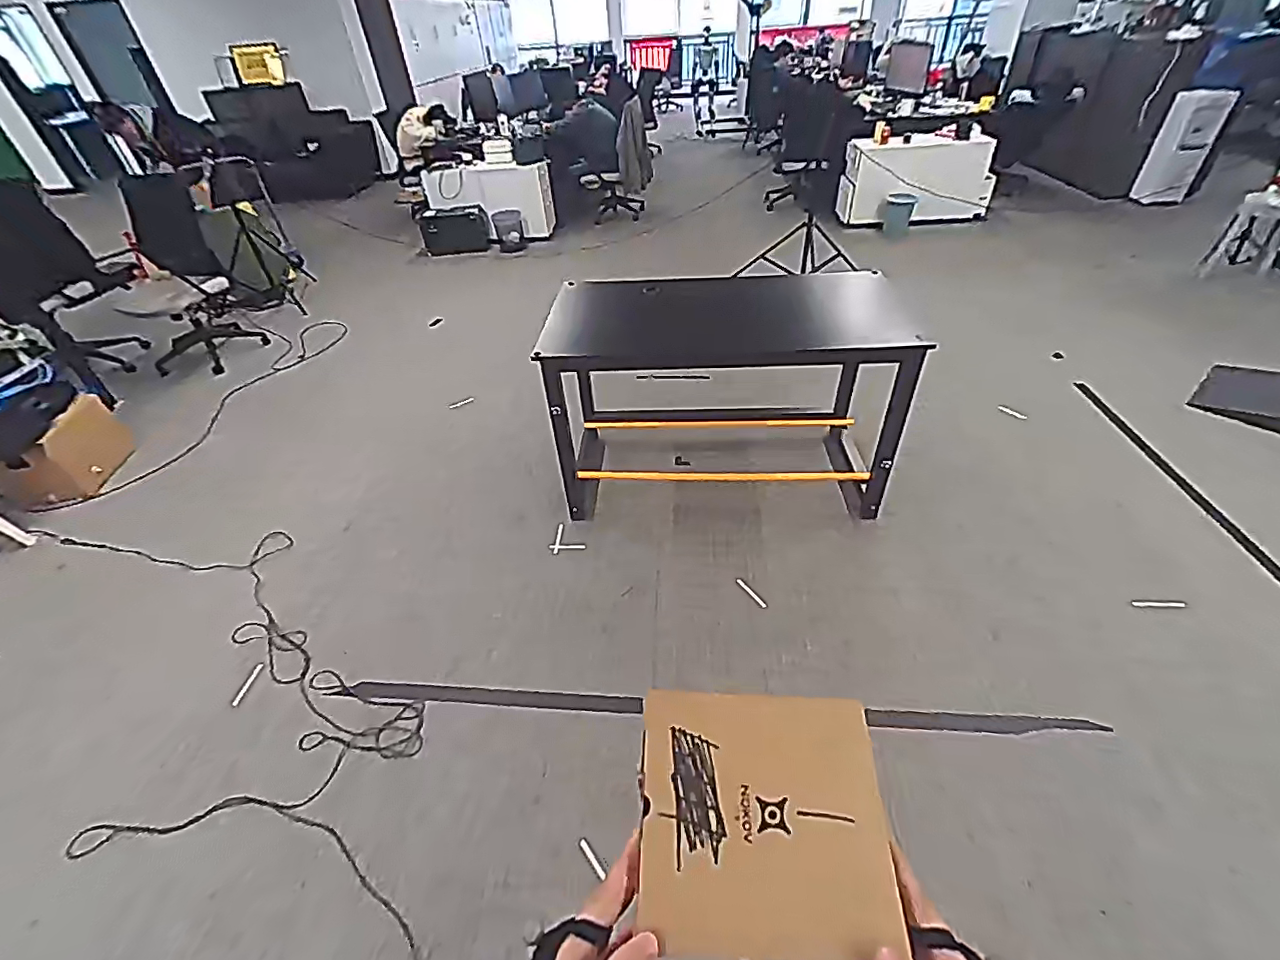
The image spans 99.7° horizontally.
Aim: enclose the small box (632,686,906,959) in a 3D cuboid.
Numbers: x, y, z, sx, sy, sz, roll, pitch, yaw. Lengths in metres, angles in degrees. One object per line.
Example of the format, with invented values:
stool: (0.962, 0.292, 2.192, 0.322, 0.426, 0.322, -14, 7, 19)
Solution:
small box: (0.089, 0.286, 0.454, 0.179, 0.176, 0.168, 1, 51, 3)
